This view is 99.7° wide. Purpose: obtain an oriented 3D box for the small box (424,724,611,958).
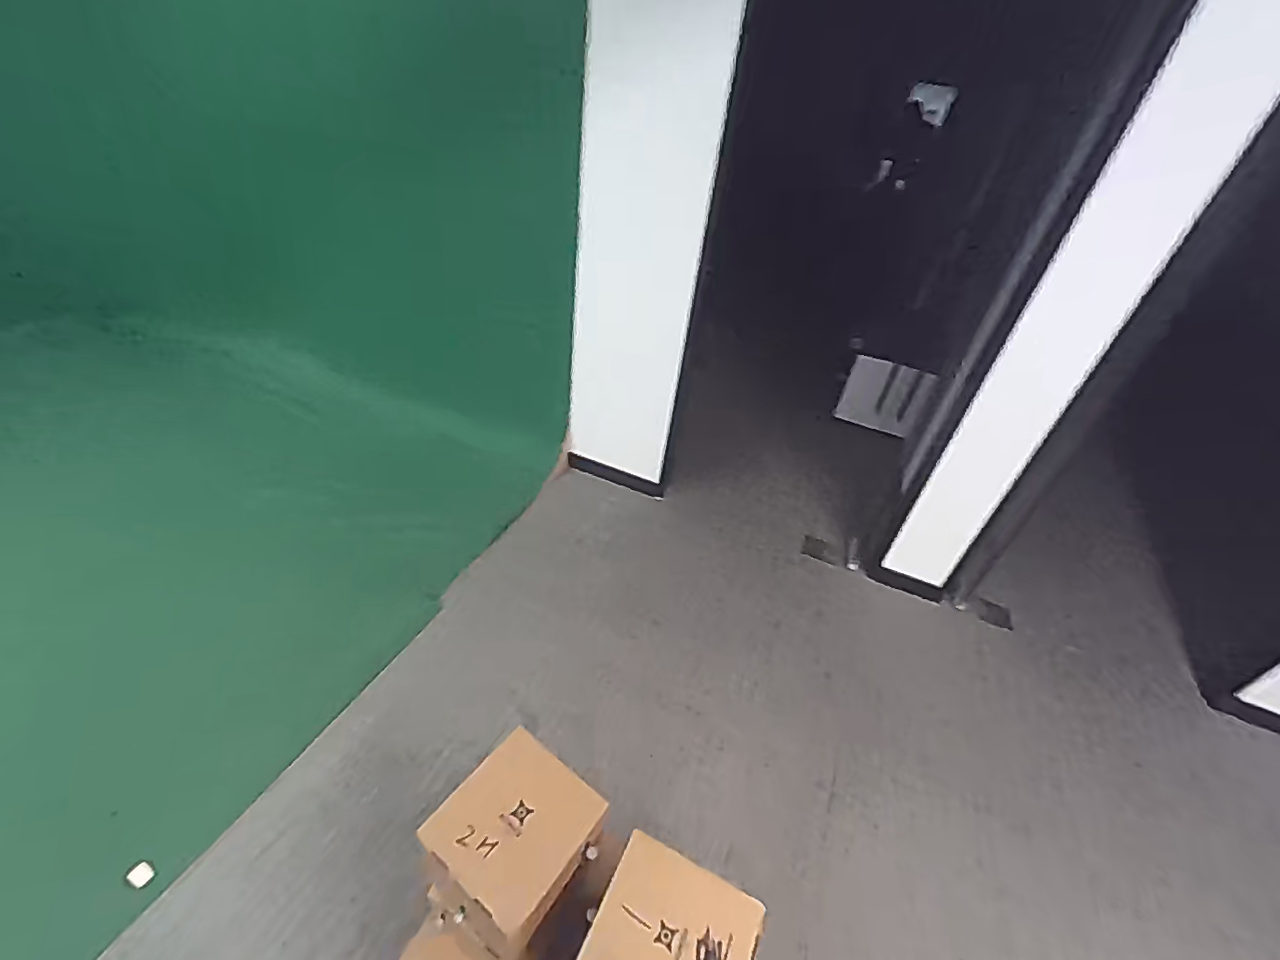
[{"bbox_3d":[-0.163,0.481,0.729,0.168,0.176,0.179,30,43,23],"label":"small box"}]
